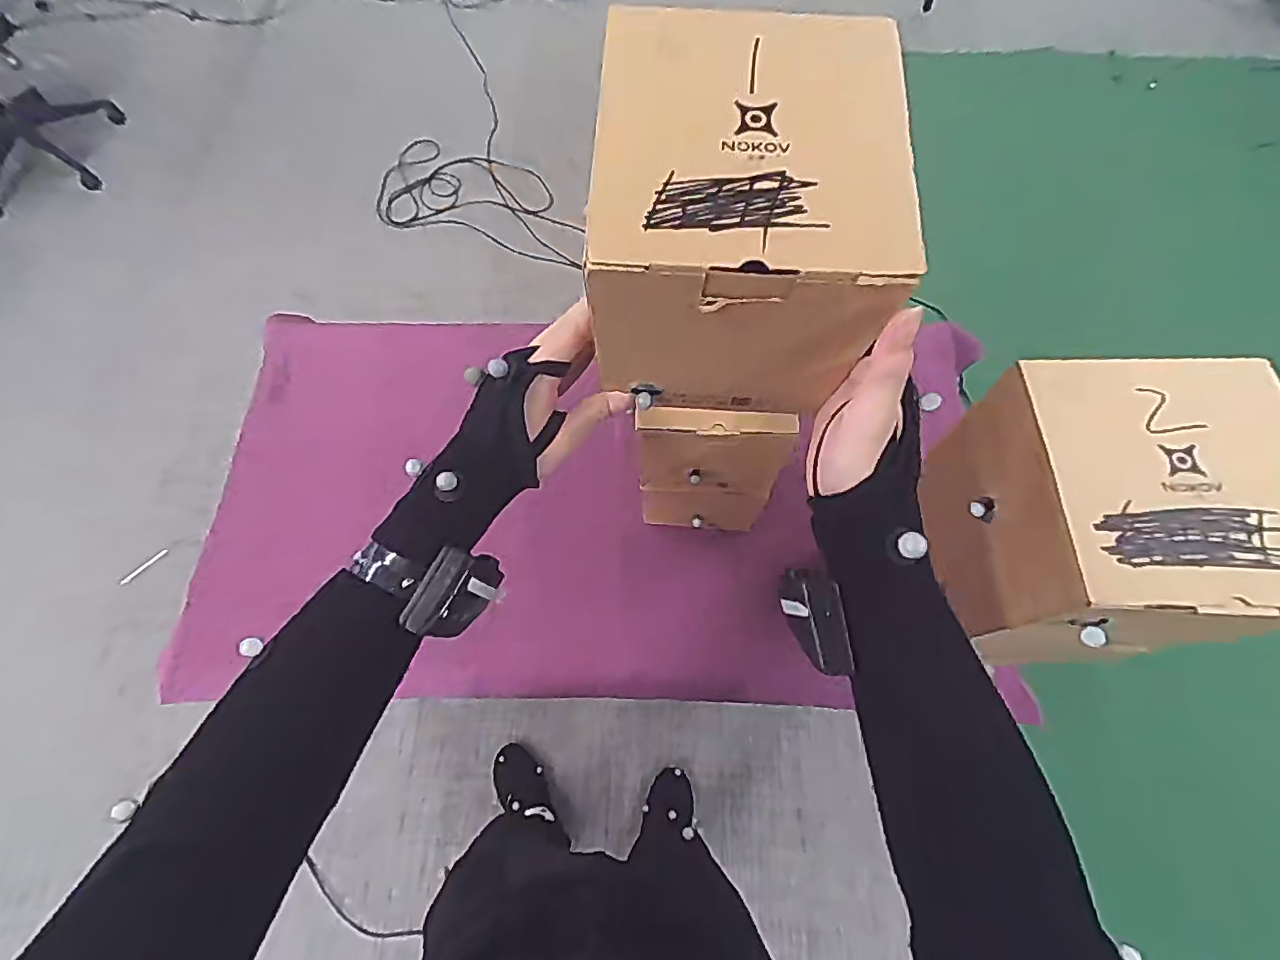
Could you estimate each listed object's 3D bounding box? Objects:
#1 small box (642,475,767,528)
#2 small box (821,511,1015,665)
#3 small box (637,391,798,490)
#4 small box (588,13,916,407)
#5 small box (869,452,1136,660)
[{"bbox_3d":[0.092,-0.040,0.803,0.168,0.176,0.179,5,69,3],"label":"small box"},{"bbox_3d":[0.356,0.152,0.723,0.179,0.176,0.168,5,68,3],"label":"small box"},{"bbox_3d":[0.083,-0.100,0.652,0.168,0.176,0.179,2,70,1],"label":"small box"},{"bbox_3d":[0.061,-0.161,0.367,0.168,0.176,0.179,3,74,0],"label":"small box"},{"bbox_3d":[0.355,0.088,0.573,0.168,0.176,0.179,4,69,4],"label":"small box"}]
